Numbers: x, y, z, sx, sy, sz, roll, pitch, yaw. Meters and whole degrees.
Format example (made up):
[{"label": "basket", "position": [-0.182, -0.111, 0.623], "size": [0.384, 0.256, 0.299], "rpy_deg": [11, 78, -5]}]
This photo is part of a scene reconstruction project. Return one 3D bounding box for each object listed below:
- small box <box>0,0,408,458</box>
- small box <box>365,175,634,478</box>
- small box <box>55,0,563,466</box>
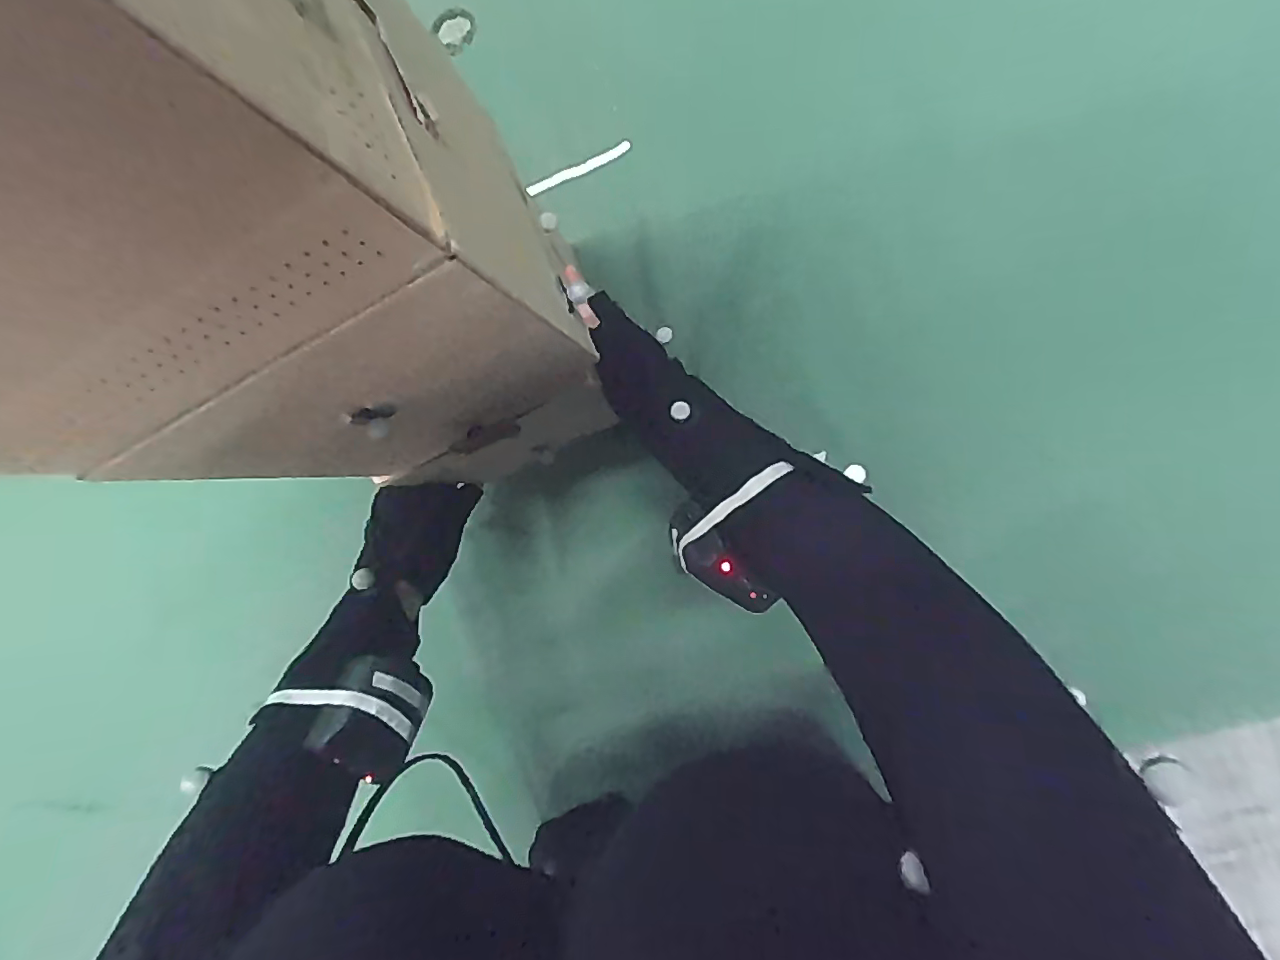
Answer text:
[{"label": "small box", "position": [-0.192, -0.112, 0.115], "size": [0.179, 0.176, 0.168], "rpy_deg": [-25, 85, 11]}, {"label": "small box", "position": [-0.123, -0.109, 0.435], "size": [0.168, 0.176, 0.179], "rpy_deg": [-24, 86, 12]}, {"label": "small box", "position": [-0.154, -0.114, 0.271], "size": [0.179, 0.176, 0.168], "rpy_deg": [-22, 84, 11]}]
